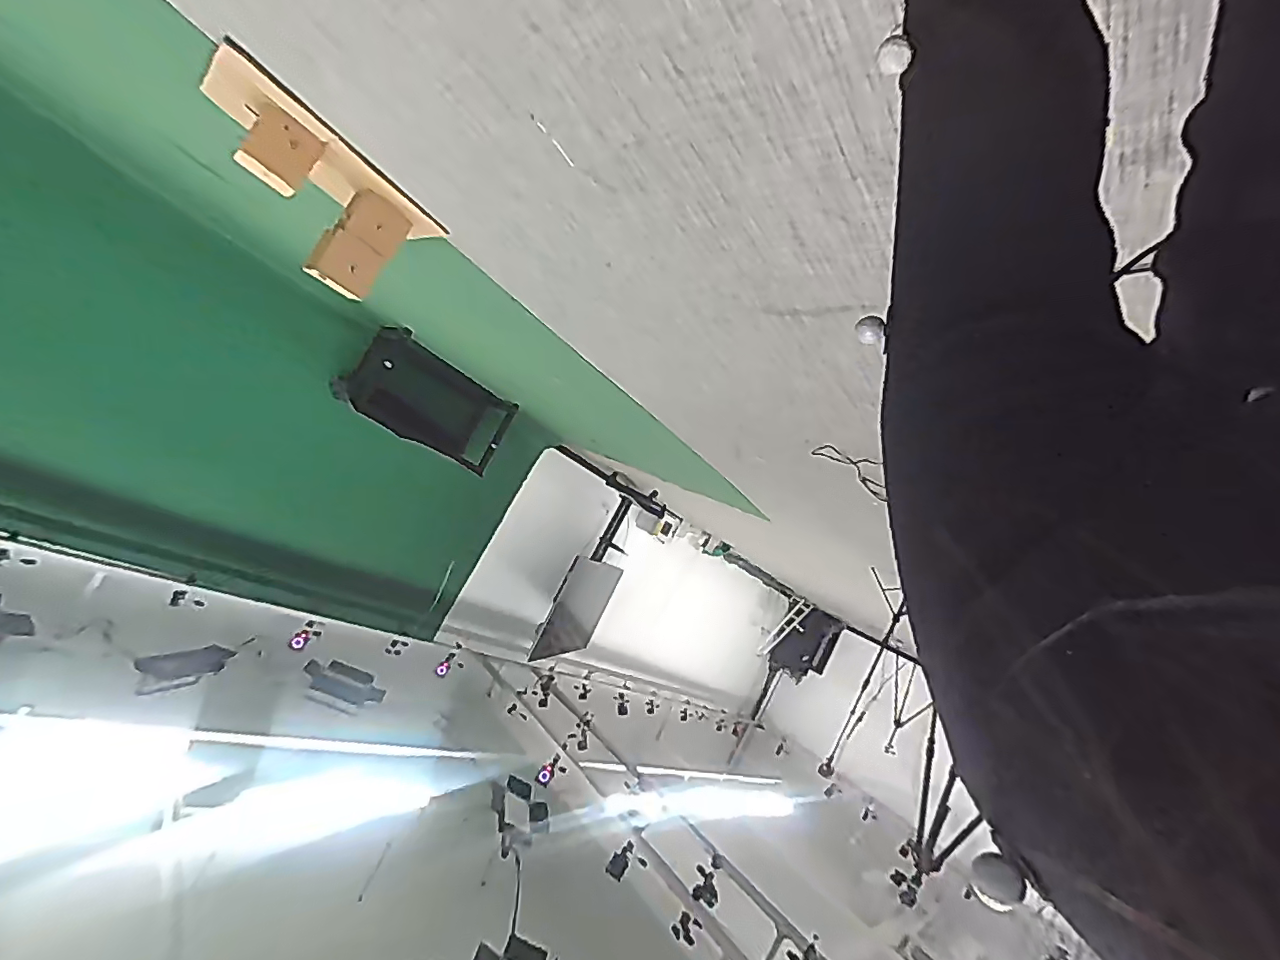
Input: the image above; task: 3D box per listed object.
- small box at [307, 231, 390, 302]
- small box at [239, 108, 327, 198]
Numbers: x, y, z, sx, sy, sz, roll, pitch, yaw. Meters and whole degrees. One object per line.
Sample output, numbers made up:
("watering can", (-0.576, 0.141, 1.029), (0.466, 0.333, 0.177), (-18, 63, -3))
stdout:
("small box", (-1.034, -0.762, 1.922), (0.168, 0.176, 0.179), (23, 173, 41))
("small box", (-1.131, -1.034, 1.716), (0.179, 0.176, 0.168), (21, 170, 46))
